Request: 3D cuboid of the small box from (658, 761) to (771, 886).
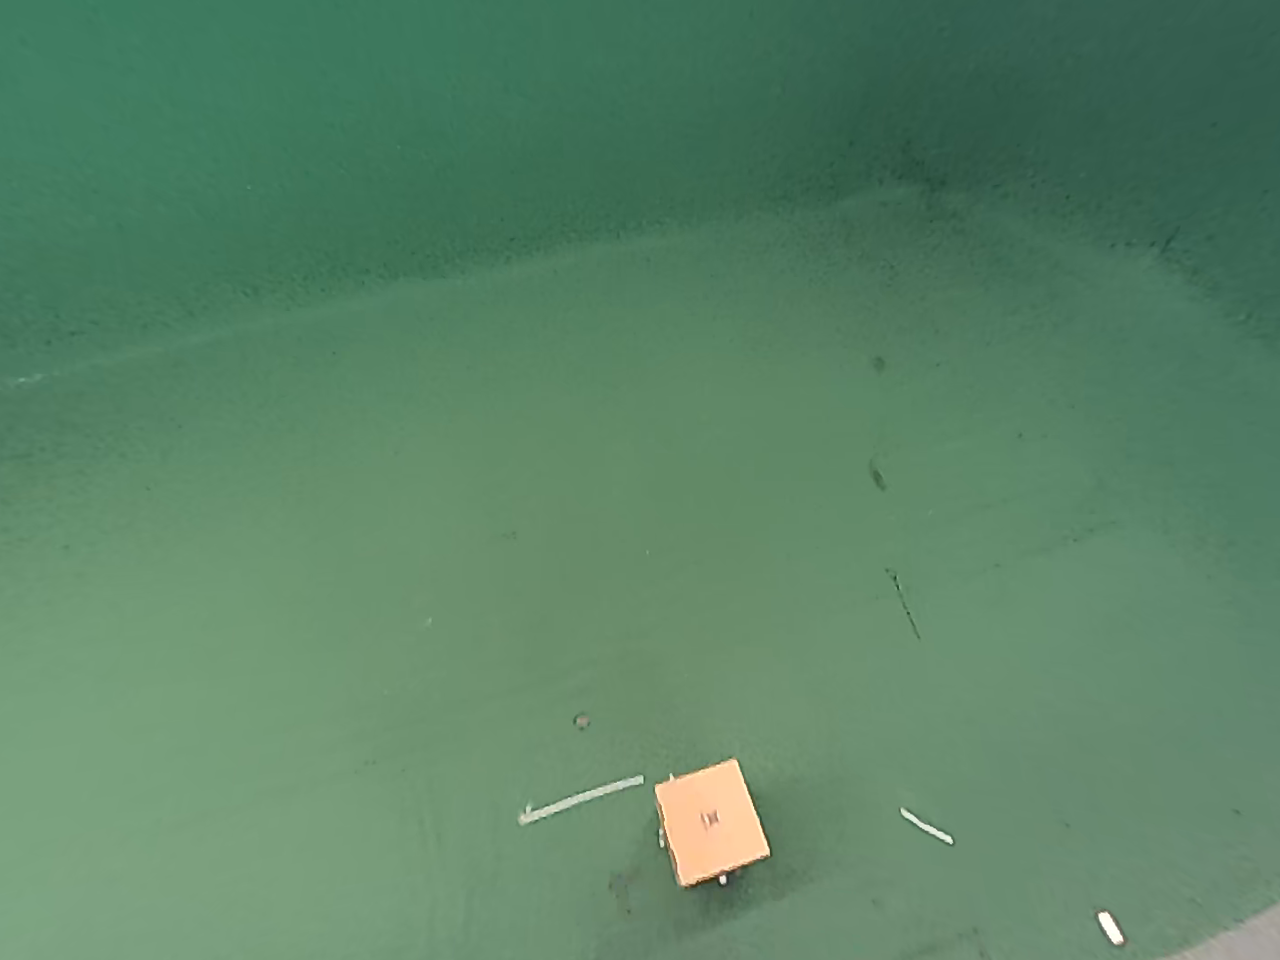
[{"bbox_3d":[0.141,0.691,1.089,0.179,0.176,0.168,-15,53,-7],"label":"small box"}]
